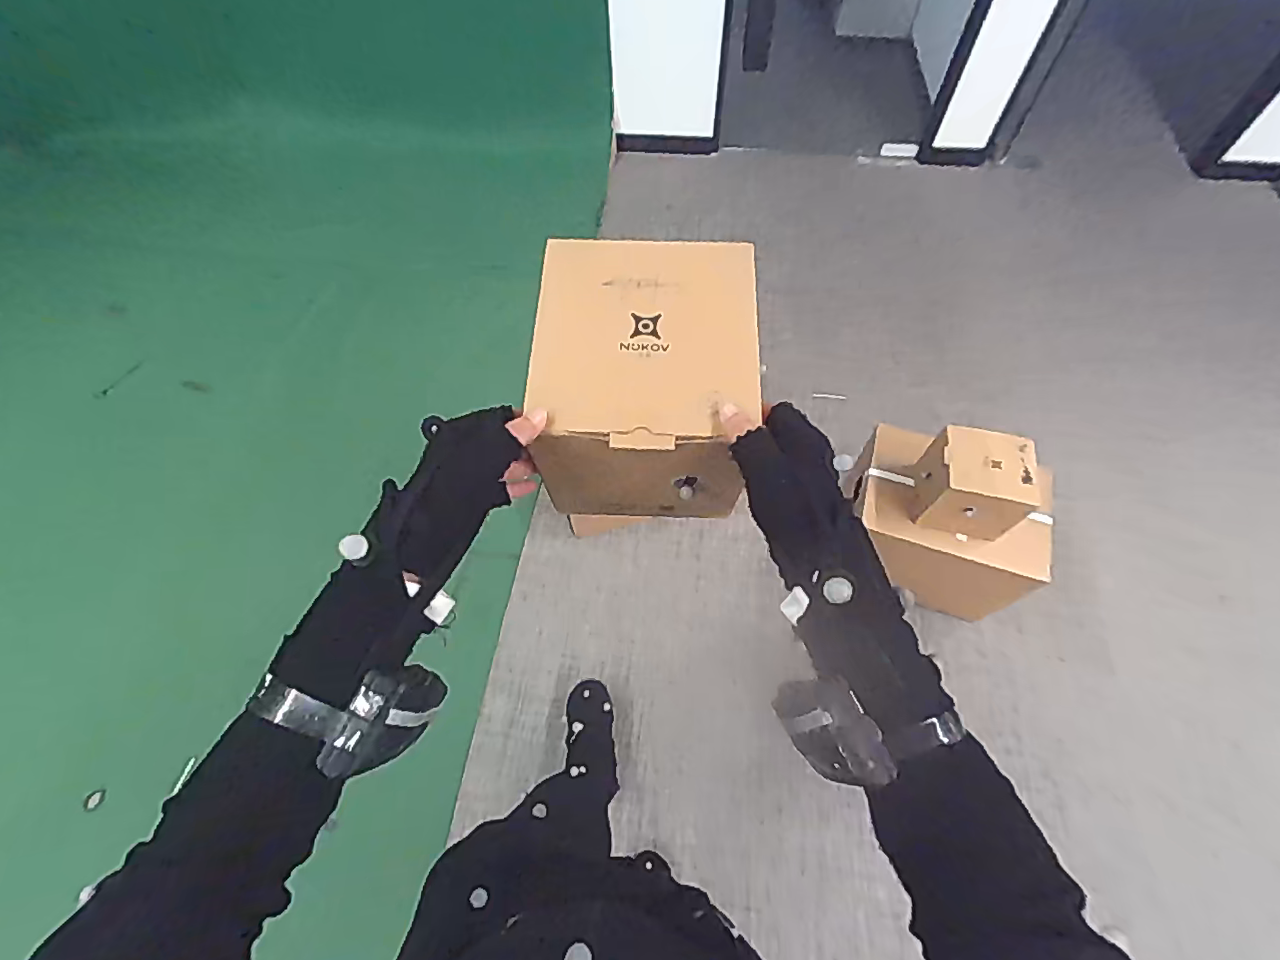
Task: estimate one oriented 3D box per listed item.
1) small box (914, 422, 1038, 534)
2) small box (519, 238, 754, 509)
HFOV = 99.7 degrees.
[{"bbox_3d":[0.715,0.001,1.172,0.179,0.176,0.168,12,61,9],"label":"small box"},{"bbox_3d":[0.002,-0.081,0.474,0.168,0.176,0.179,2,66,1],"label":"small box"}]
